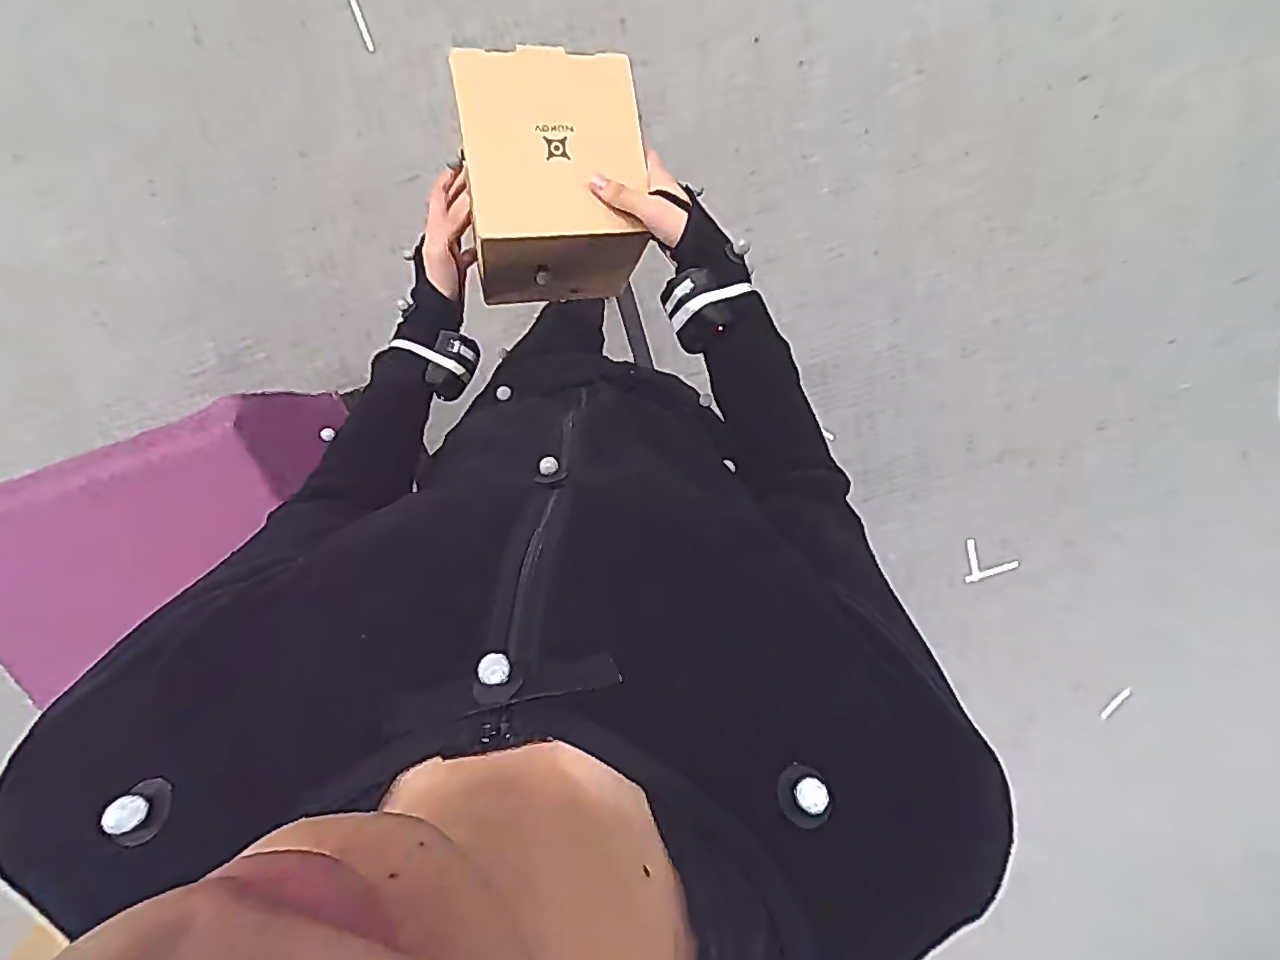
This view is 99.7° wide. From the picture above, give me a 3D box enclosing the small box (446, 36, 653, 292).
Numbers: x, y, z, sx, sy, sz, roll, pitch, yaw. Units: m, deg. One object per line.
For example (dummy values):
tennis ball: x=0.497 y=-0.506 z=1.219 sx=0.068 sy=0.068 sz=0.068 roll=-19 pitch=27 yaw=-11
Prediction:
small box: x=-0.094 y=-0.308 z=0.562 sx=0.168 sy=0.176 sz=0.179 roll=-10 pitch=89 yaw=-13
